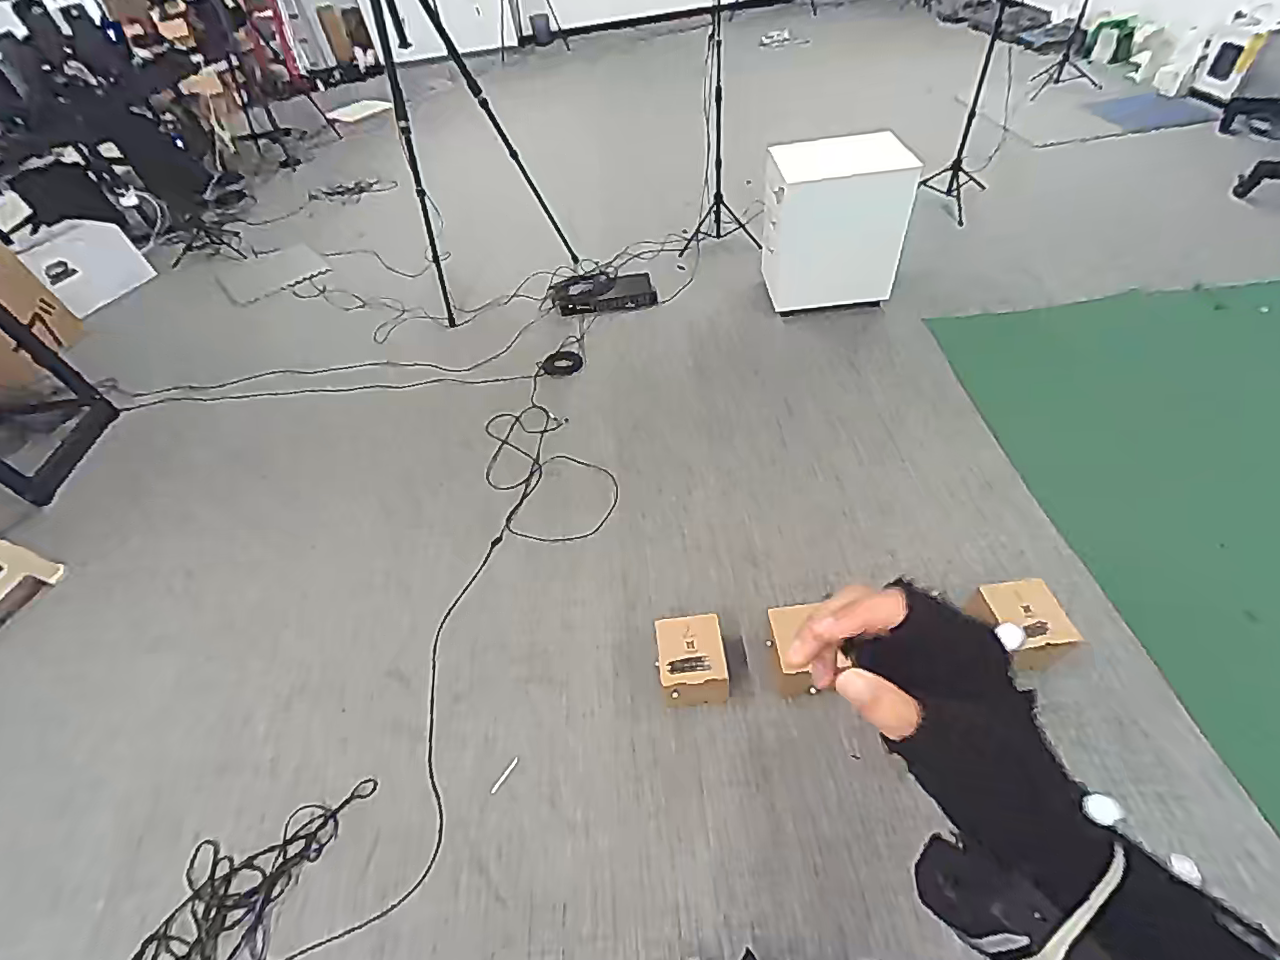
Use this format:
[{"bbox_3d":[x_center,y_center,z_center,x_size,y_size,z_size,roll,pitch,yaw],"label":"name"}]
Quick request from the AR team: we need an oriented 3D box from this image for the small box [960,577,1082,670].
[{"bbox_3d":[0.962,0.374,1.384,0.168,0.176,0.179,-8,49,1],"label":"small box"}]

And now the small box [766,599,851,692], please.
[{"bbox_3d":[0.428,0.433,1.408,0.168,0.176,0.179,-7,50,3],"label":"small box"}]

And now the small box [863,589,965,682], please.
[{"bbox_3d":[0.695,0.404,1.398,0.168,0.176,0.179,-5,50,3],"label":"small box"}]
